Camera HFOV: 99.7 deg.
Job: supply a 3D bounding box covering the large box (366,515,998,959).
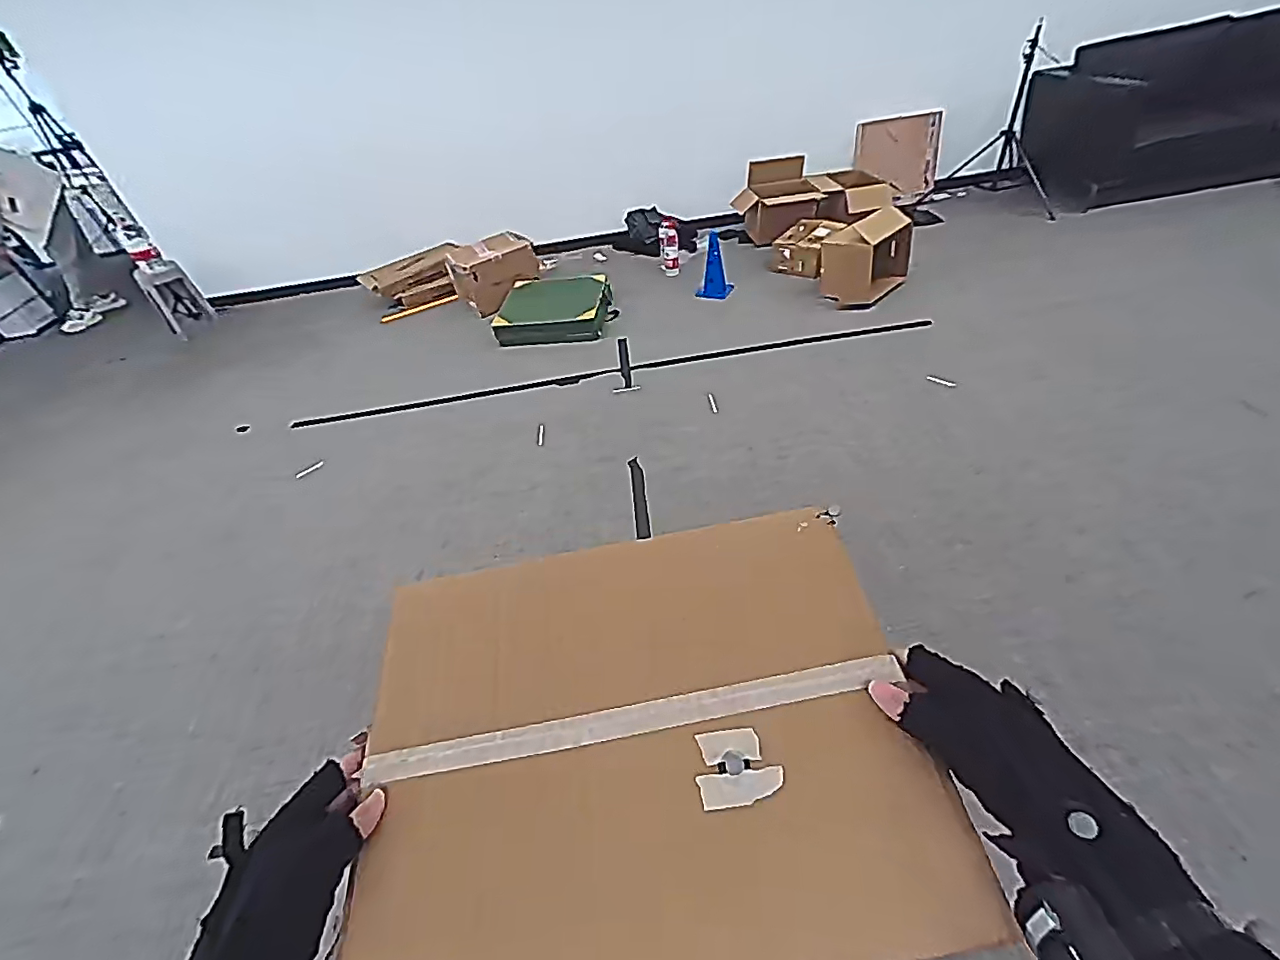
[{"bbox_3d":[0.017,0.281,0.531,0.408,0.320,0.320,-11,51,-1],"label":"large box"}]
